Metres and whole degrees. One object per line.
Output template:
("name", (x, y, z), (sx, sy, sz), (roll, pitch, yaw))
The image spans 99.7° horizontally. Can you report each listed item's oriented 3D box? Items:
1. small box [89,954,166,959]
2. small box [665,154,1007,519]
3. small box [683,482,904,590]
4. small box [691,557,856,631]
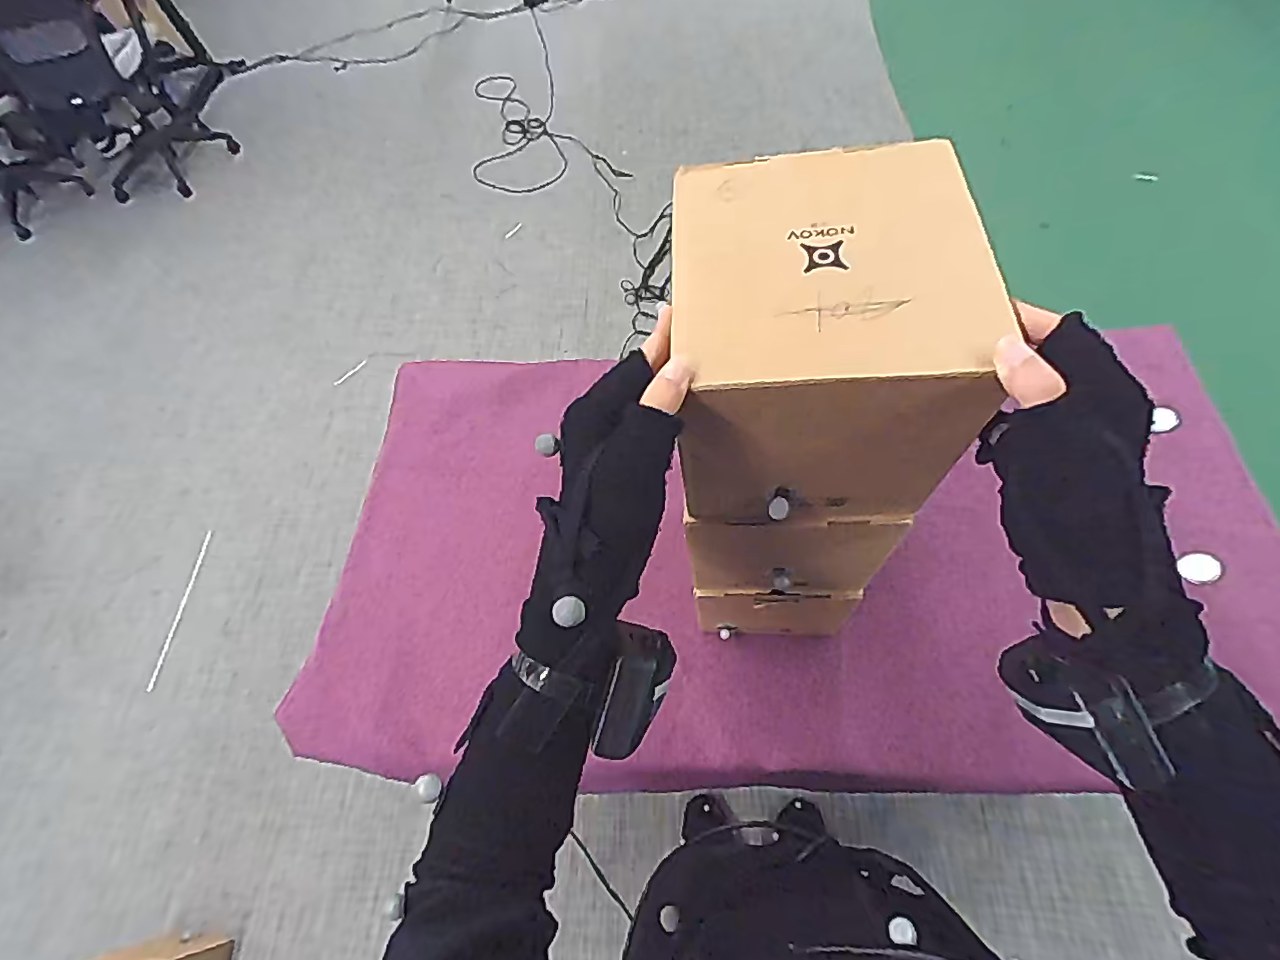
("small box", (-1.026, 1.001, 0.981), (0.168, 0.176, 0.179), (-4, 61, 7))
("small box", (0.108, -0.085, 0.374), (0.168, 0.176, 0.179), (-1, 63, 8))
("small box", (0.129, -0.006, 0.514), (0.168, 0.176, 0.179), (-1, 62, 9))
("small box", (0.151, 0.078, 0.653), (0.168, 0.176, 0.179), (-1, 61, 8))
